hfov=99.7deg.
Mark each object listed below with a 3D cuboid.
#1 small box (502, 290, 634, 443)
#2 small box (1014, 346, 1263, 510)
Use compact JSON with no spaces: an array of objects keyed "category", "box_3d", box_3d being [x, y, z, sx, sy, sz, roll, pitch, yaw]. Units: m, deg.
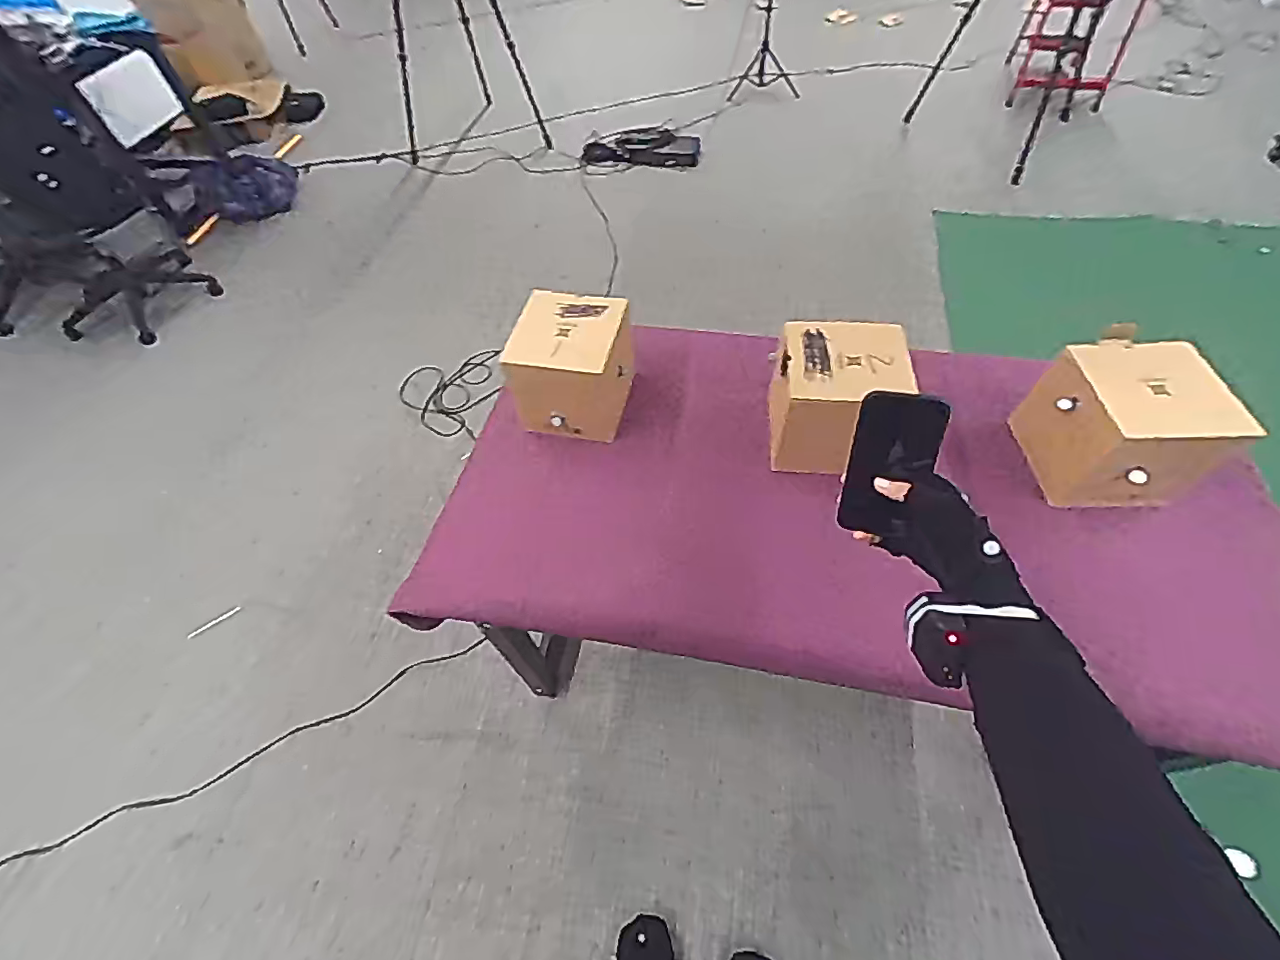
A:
[{"category":"small box","box_3d":[-0.108,-0.189,0.911,0.168,0.176,0.179,9,57,10]},{"category":"small box","box_3d":[0.685,-0.068,0.775,0.168,0.176,0.179,-1,54,4]}]
